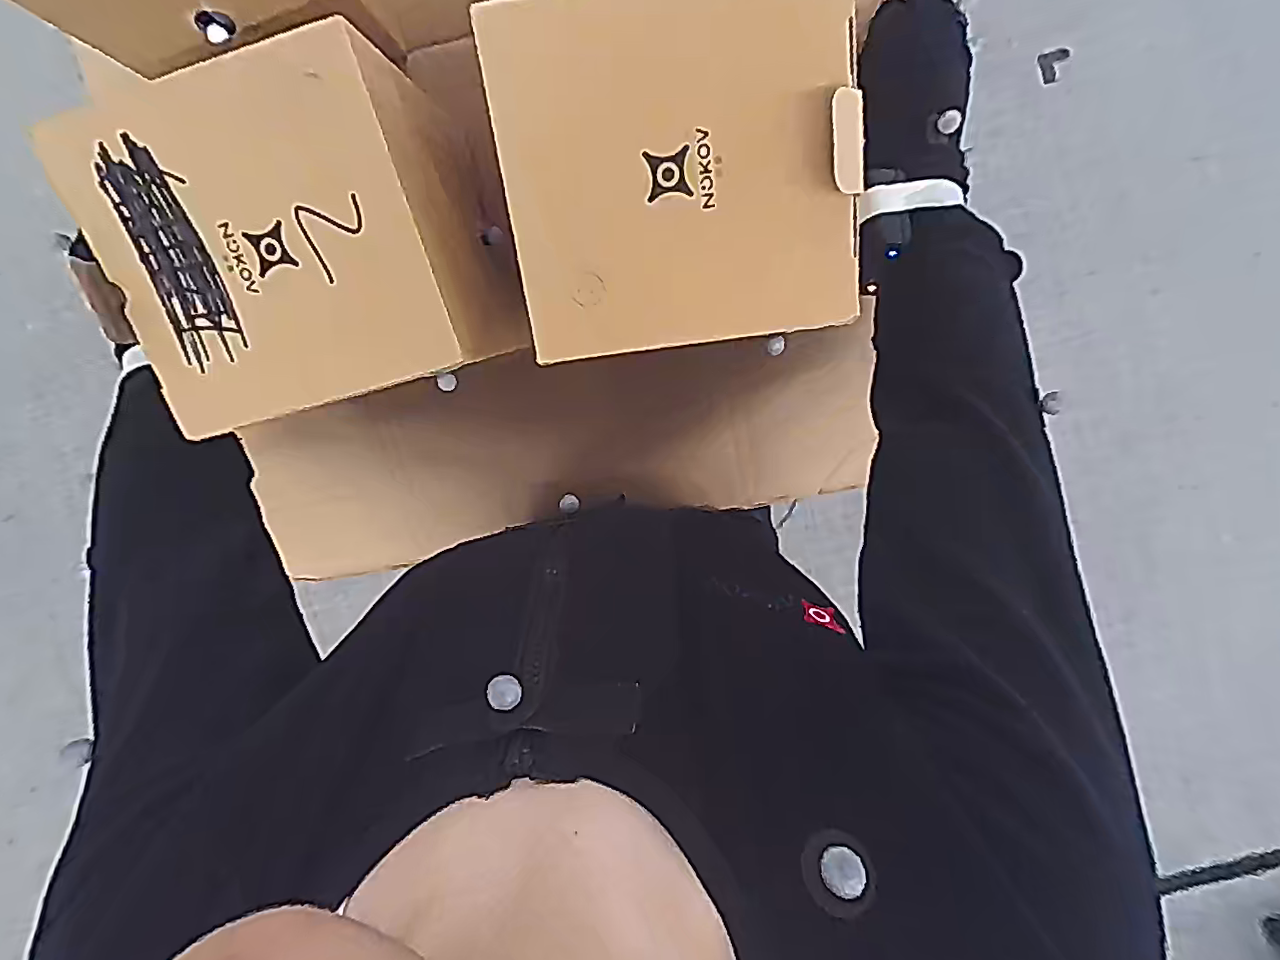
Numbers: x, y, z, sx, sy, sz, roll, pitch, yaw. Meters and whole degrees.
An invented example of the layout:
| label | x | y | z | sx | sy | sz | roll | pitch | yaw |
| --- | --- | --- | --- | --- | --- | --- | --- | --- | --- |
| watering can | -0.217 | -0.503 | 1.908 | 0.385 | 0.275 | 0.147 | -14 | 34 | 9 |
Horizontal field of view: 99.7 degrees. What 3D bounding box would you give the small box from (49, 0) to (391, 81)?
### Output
| label | x | y | z | sx | sy | sz | roll | pitch | yaw |
| --- | --- | --- | --- | --- | --- | --- | --- | --- | --- |
| small box | -0.278 | -0.375 | 0.316 | 0.168 | 0.176 | 0.179 | -12 | 99 | 6 |
